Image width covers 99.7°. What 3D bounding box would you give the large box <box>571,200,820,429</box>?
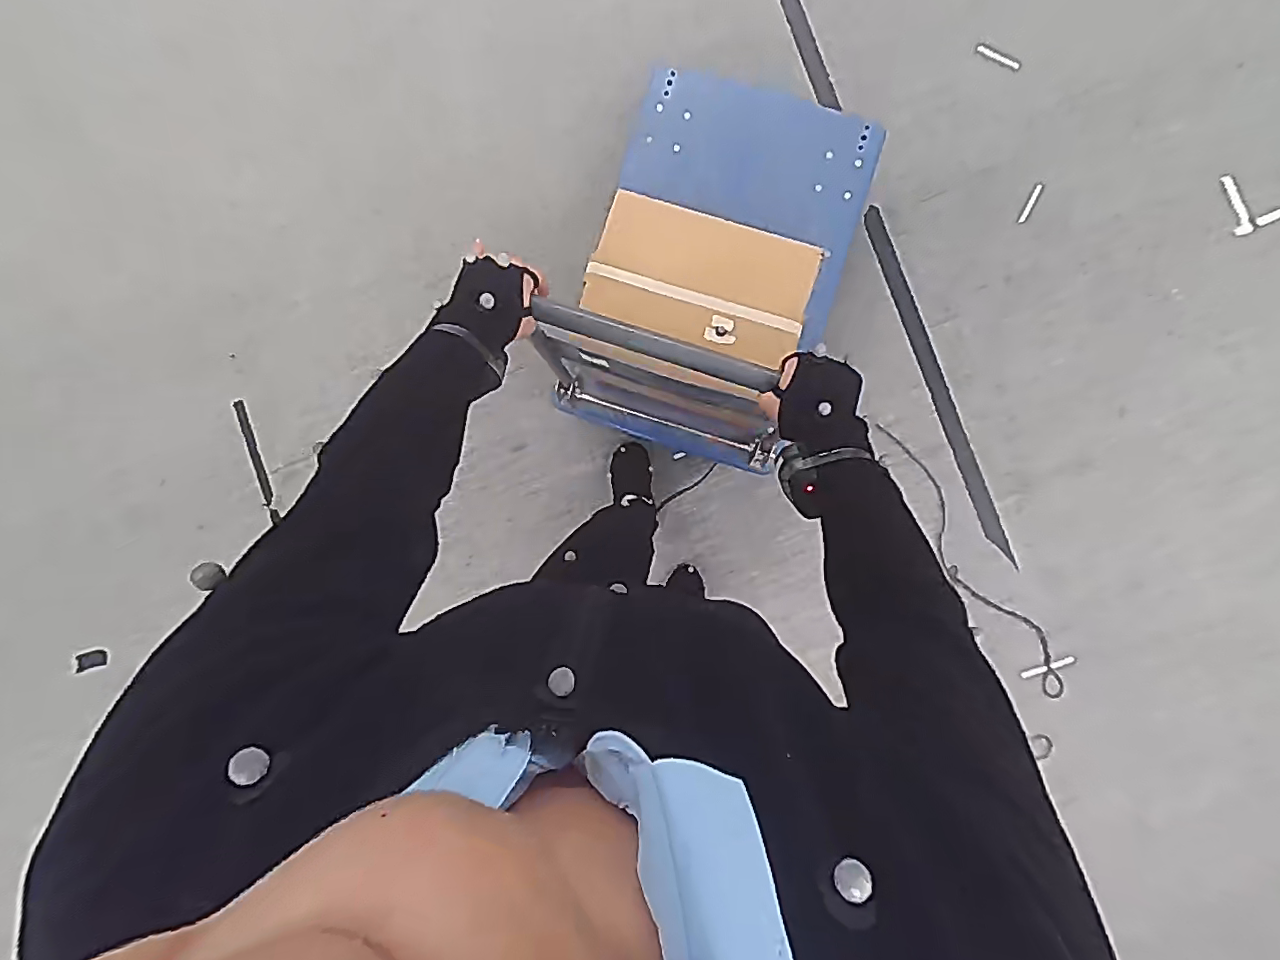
[{"bbox_3d":[0.105,-0.324,1.154,0.408,0.320,0.320,18,91,2],"label":"large box"}]
